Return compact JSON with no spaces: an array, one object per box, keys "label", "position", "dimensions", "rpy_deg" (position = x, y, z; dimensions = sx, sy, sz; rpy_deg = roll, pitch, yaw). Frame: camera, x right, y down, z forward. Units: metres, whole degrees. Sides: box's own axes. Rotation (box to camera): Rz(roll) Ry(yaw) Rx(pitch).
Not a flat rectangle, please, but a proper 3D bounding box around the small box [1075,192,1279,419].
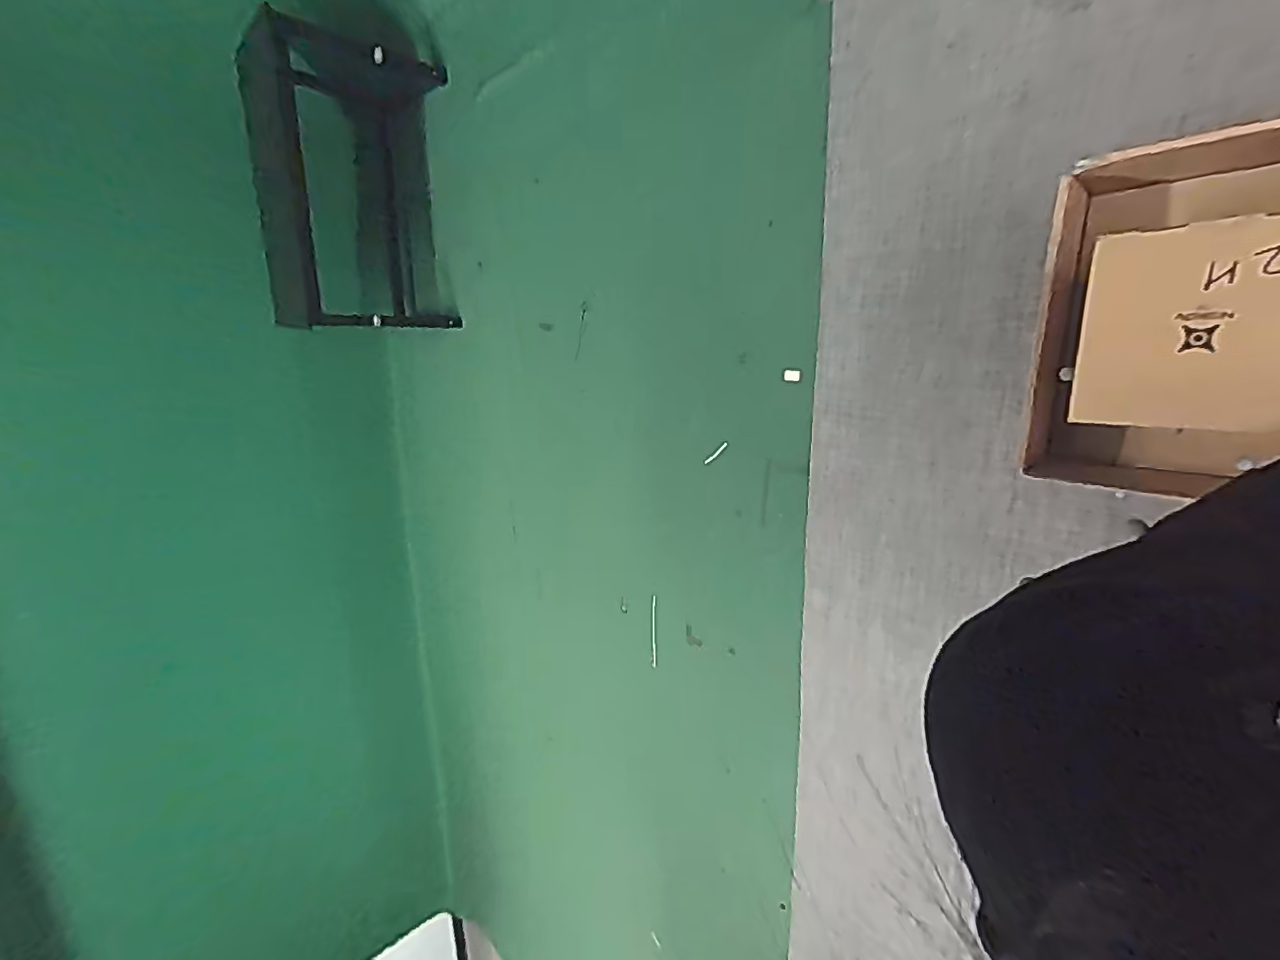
[{"label":"small box","position":[0.539,-0.157,0.504],"dimensions":[0.168,0.176,0.179],"rpy_deg":[13,110,46]}]
